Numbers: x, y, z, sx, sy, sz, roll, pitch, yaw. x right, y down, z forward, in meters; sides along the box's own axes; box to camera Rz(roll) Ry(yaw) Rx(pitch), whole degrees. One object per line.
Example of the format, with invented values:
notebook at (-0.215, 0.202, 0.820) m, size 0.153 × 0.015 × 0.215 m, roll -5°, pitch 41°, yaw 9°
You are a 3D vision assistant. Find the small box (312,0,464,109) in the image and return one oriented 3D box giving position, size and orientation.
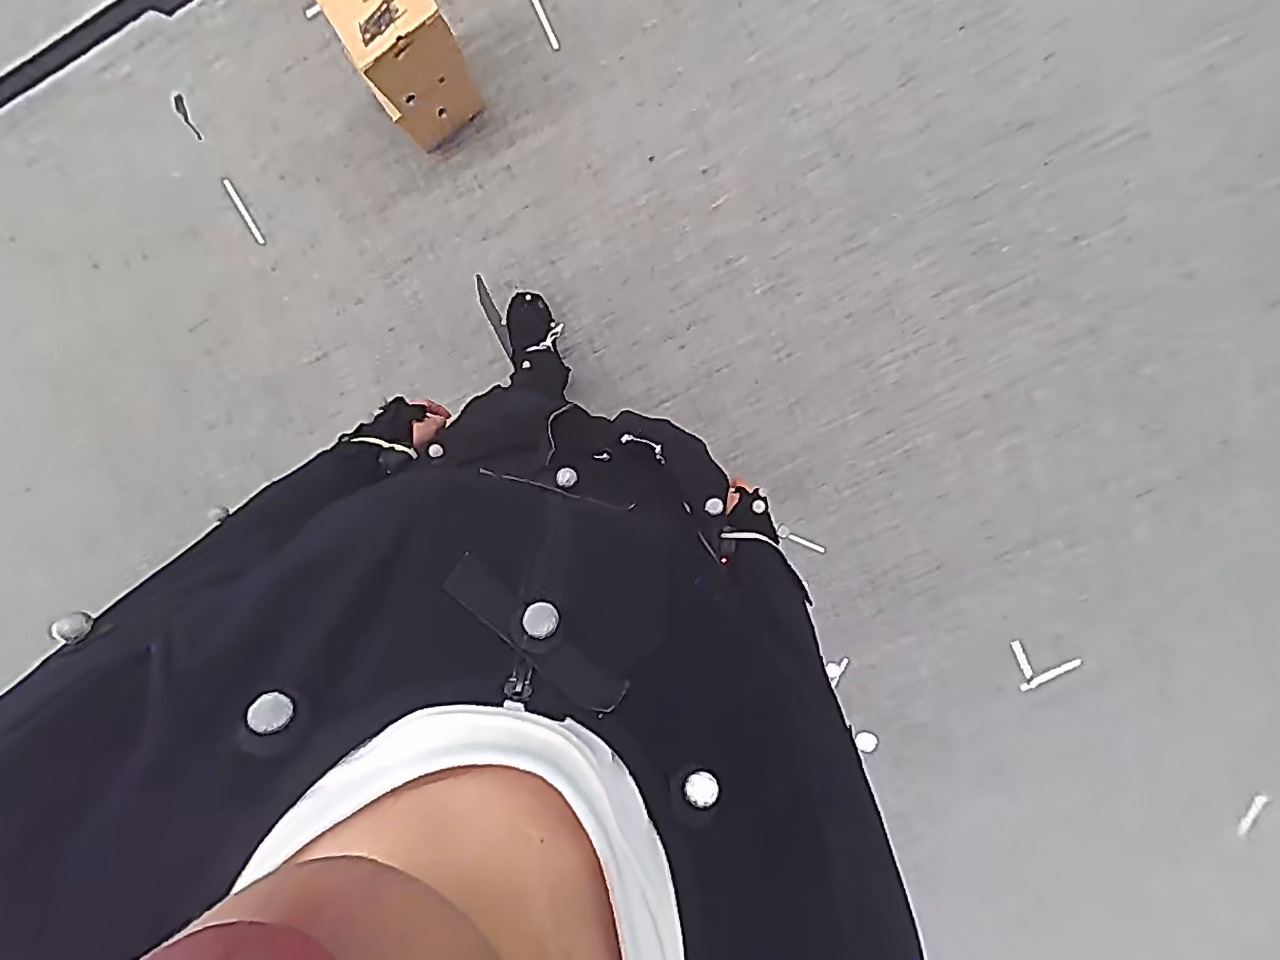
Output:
small box at (-0.442, -0.802, 0.955) m, size 0.168 × 0.176 × 0.179 m, roll -32°, pitch 99°, yaw 5°
